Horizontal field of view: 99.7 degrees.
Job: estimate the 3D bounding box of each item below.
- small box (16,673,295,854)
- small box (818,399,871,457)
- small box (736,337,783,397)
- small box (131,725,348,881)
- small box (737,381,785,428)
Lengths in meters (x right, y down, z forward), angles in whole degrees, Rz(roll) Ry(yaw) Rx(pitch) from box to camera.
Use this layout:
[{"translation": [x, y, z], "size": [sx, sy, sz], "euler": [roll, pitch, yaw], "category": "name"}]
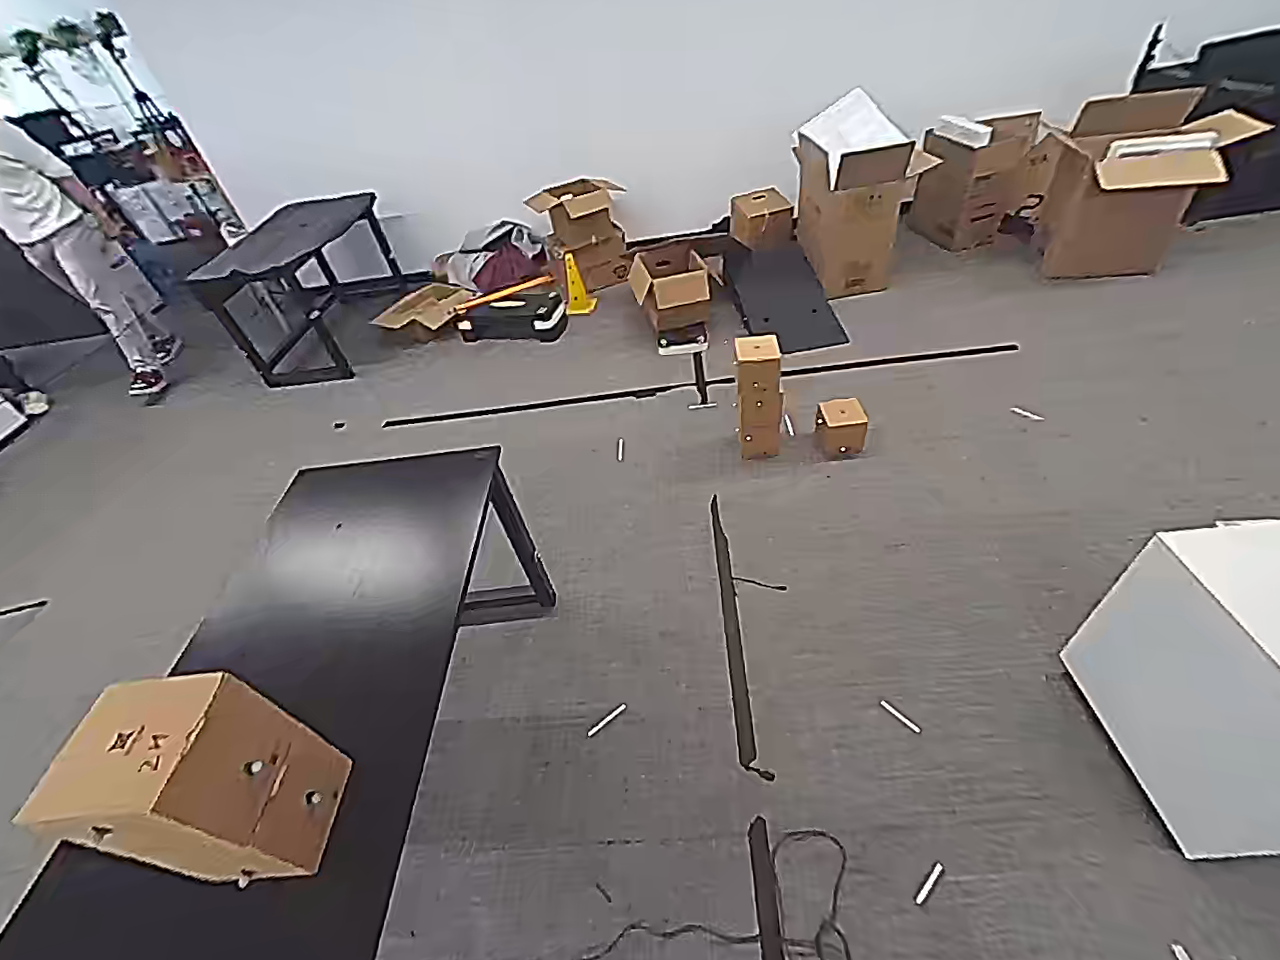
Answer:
[{"translation": [-0.612, 0.377, 0.715], "size": [0.179, 0.176, 0.168], "euler": [-7, 44, 4], "category": "small box"}, {"translation": [0.882, -0.224, 2.350], "size": [0.168, 0.176, 0.179], "euler": [-8, 44, 5], "category": "small box"}, {"translation": [0.481, -0.456, 2.189], "size": [0.168, 0.176, 0.179], "euler": [-4, 44, 6], "category": "small box"}, {"translation": [-0.588, 0.495, 0.828], "size": [0.179, 0.176, 0.168], "euler": [-7, 43, 3], "category": "small box"}, {"translation": [0.512, -0.336, 2.295], "size": [0.179, 0.176, 0.168], "euler": [-5, 43, 4], "category": "small box"}]
